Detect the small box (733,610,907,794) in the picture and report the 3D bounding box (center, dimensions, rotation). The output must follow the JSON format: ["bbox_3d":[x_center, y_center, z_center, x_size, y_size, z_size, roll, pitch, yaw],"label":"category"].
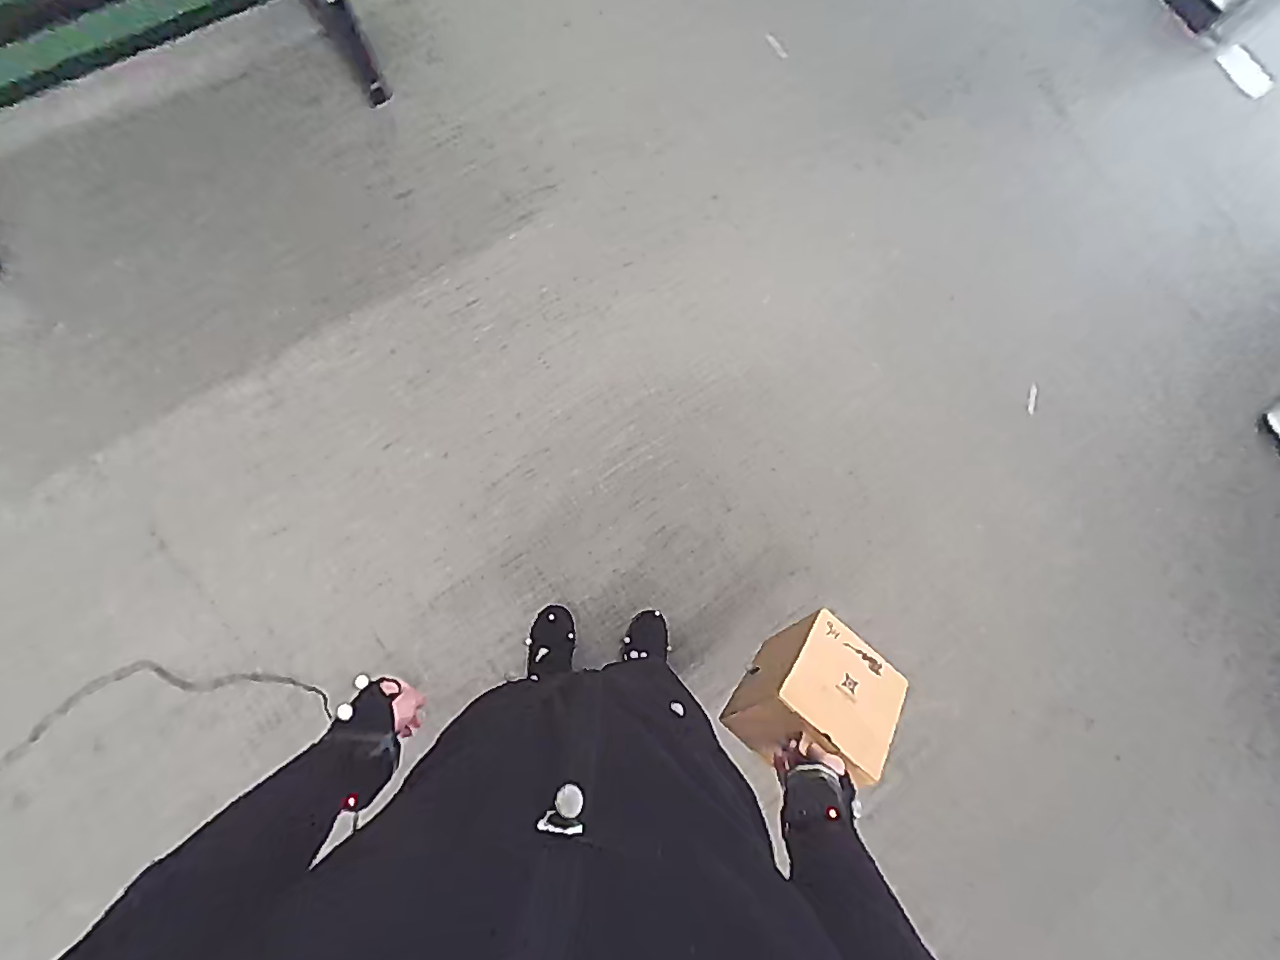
[{"bbox_3d":[0.263,0.339,0.817,0.168,0.176,0.179,37,48,6],"label":"small box"}]
